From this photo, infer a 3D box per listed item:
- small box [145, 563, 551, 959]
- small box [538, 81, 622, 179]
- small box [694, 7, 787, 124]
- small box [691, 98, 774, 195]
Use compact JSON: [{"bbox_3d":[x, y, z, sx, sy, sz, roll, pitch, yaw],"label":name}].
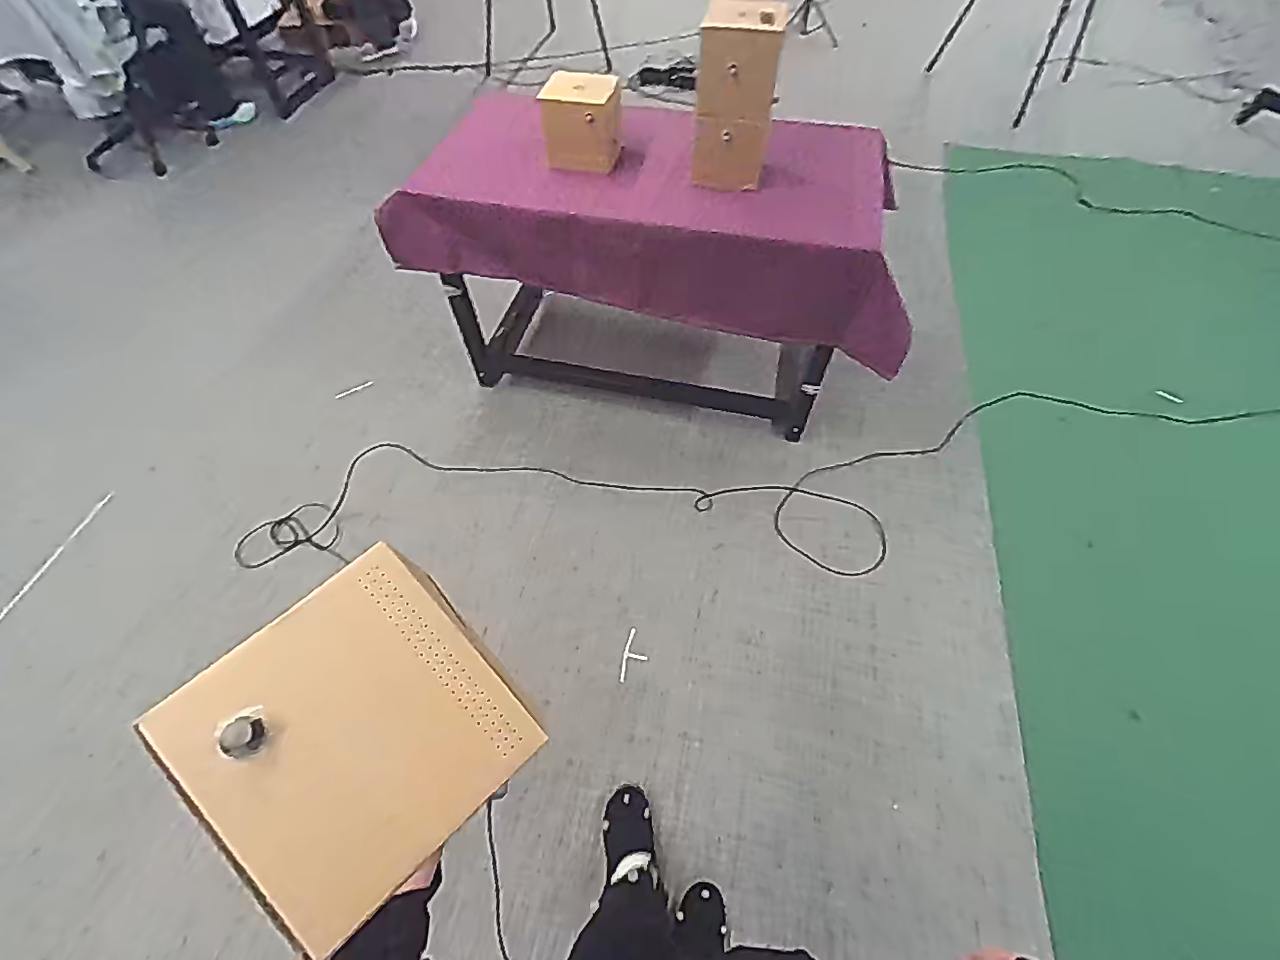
[{"bbox_3d":[-0.190,0.178,0.408,0.176,0.168,0.179,-41,85,-19],"label":"small box"},{"bbox_3d":[-0.152,-0.921,1.427,0.179,0.176,0.168,10,56,7],"label":"small box"},{"bbox_3d":[0.226,-0.940,1.232,0.179,0.176,0.168,10,57,8],"label":"small box"},{"bbox_3d":[0.229,-0.847,1.368,0.179,0.176,0.168,11,57,8],"label":"small box"}]
